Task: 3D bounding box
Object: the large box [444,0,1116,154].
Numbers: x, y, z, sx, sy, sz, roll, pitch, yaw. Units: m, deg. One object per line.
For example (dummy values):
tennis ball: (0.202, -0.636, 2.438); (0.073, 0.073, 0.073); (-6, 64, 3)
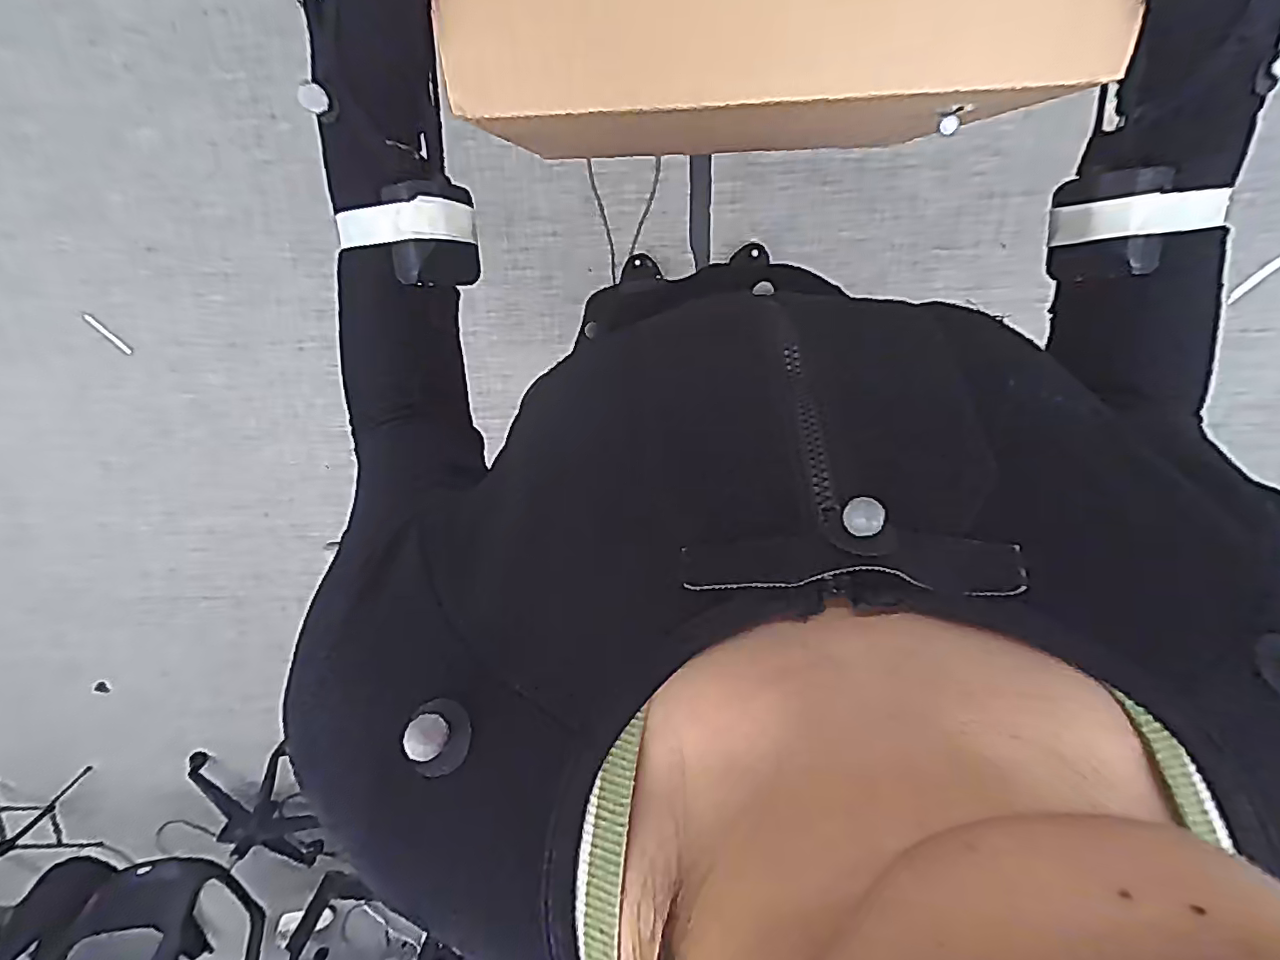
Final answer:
large box: (0.080, -0.442, 0.404); (0.408, 0.320, 0.320); (-2, 116, 2)
